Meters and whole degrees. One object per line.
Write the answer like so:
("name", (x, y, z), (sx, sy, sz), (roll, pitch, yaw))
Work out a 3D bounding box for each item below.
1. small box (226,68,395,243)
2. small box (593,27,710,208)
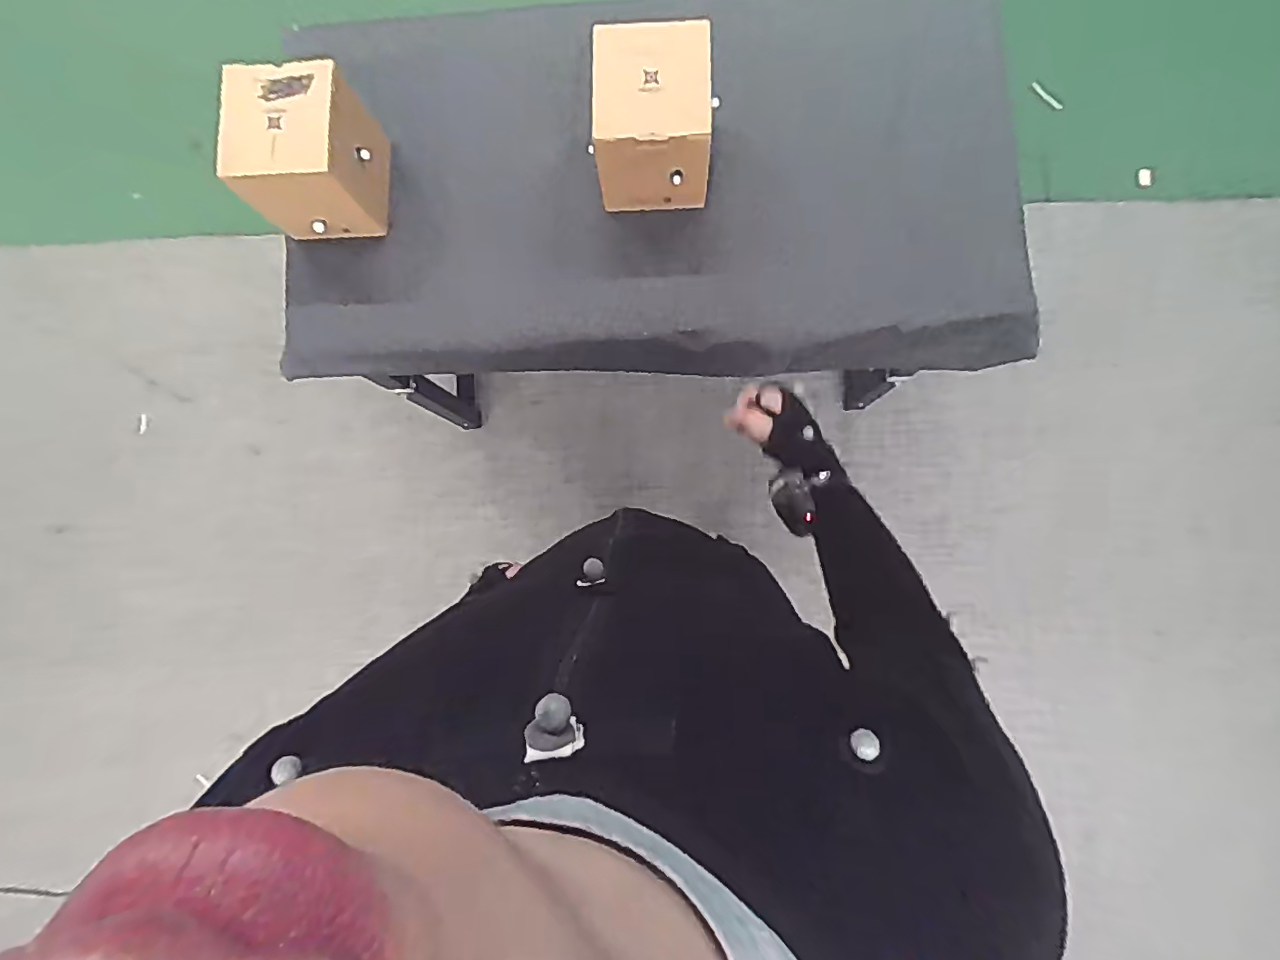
("small box", (-0.509, -0.504, 0.859), (0.168, 0.176, 0.179), (-1, 85, 3))
("small box", (0.020, -0.544, 0.837), (0.168, 0.176, 0.179), (-1, 83, 2))
